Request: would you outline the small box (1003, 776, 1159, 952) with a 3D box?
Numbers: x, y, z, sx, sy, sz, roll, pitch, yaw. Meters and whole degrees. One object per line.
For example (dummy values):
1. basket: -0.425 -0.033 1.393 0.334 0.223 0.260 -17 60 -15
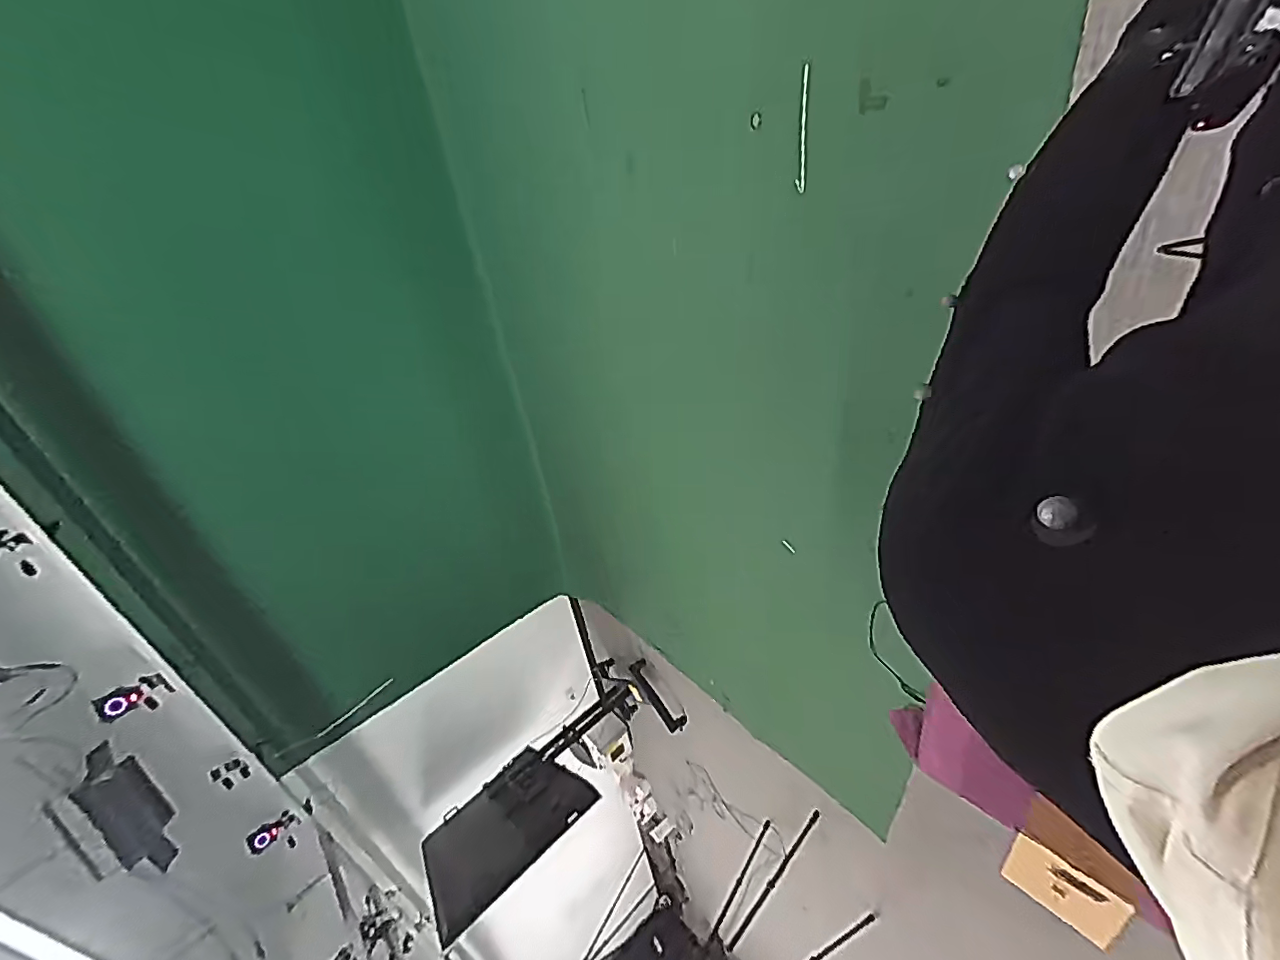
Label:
1. small box: 0.809 0.694 0.994 0.168 0.176 0.179 27 138 44
